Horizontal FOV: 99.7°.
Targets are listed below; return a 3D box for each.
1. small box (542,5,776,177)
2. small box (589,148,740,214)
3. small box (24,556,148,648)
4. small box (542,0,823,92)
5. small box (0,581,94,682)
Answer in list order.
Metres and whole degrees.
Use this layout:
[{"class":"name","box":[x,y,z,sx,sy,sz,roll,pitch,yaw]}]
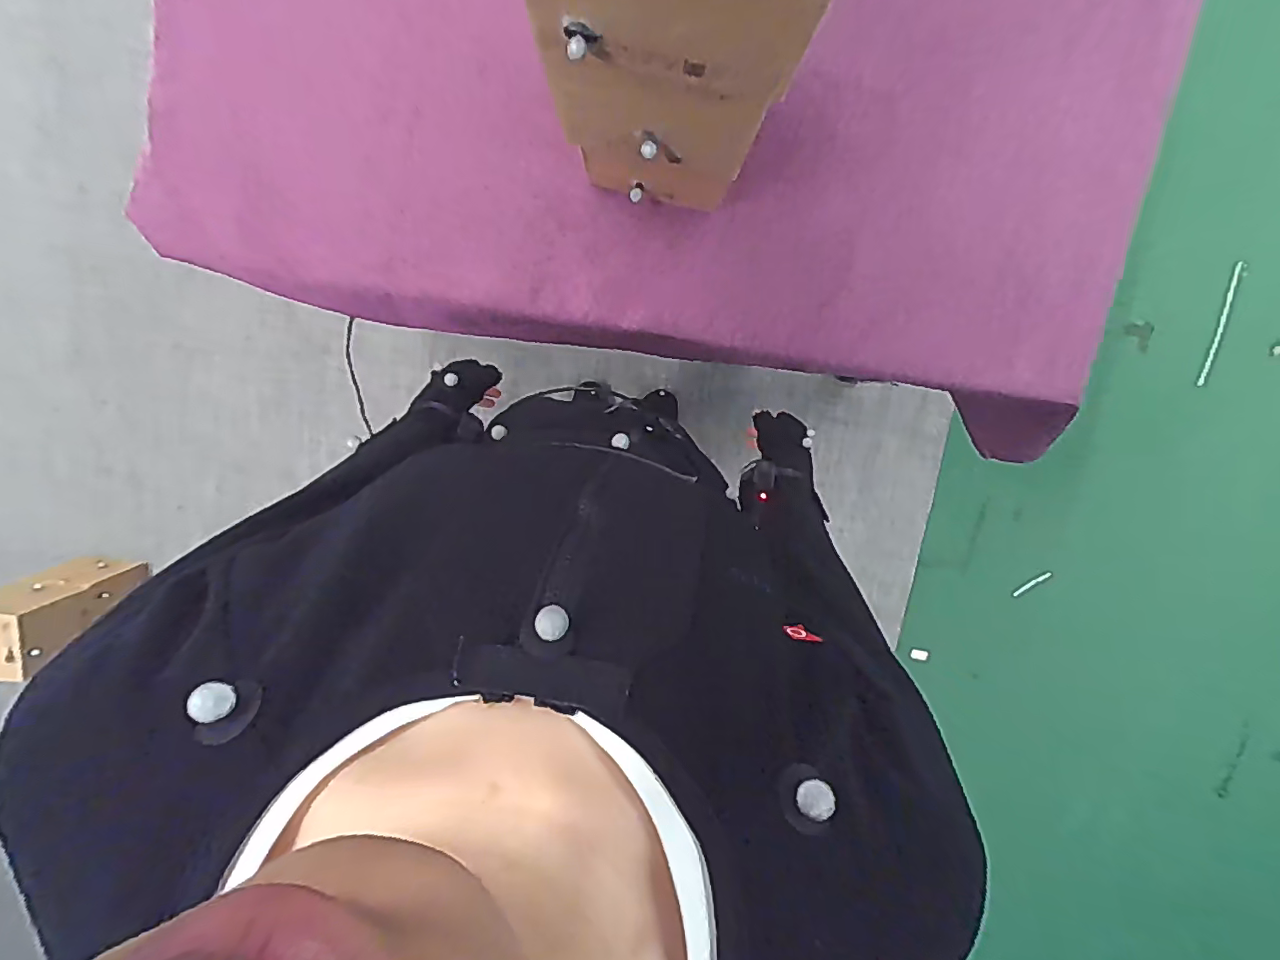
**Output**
[{"class":"small box","box":[0.030,-0.375,0.426,0.168,0.176,0.179,11,100,-1]},{"class":"small box","box":[0.037,-0.419,0.584,0.168,0.176,0.179,12,100,-2]},{"class":"small box","box":[-1.463,0.320,1.441,0.168,0.176,0.179,7,100,-2]},{"class":"small box","box":[0.033,-0.337,0.266,0.168,0.176,0.179,12,99,-2]},{"class":"small box","box":[-1.461,0.350,1.279,0.179,0.176,0.168,7,100,-1]}]
